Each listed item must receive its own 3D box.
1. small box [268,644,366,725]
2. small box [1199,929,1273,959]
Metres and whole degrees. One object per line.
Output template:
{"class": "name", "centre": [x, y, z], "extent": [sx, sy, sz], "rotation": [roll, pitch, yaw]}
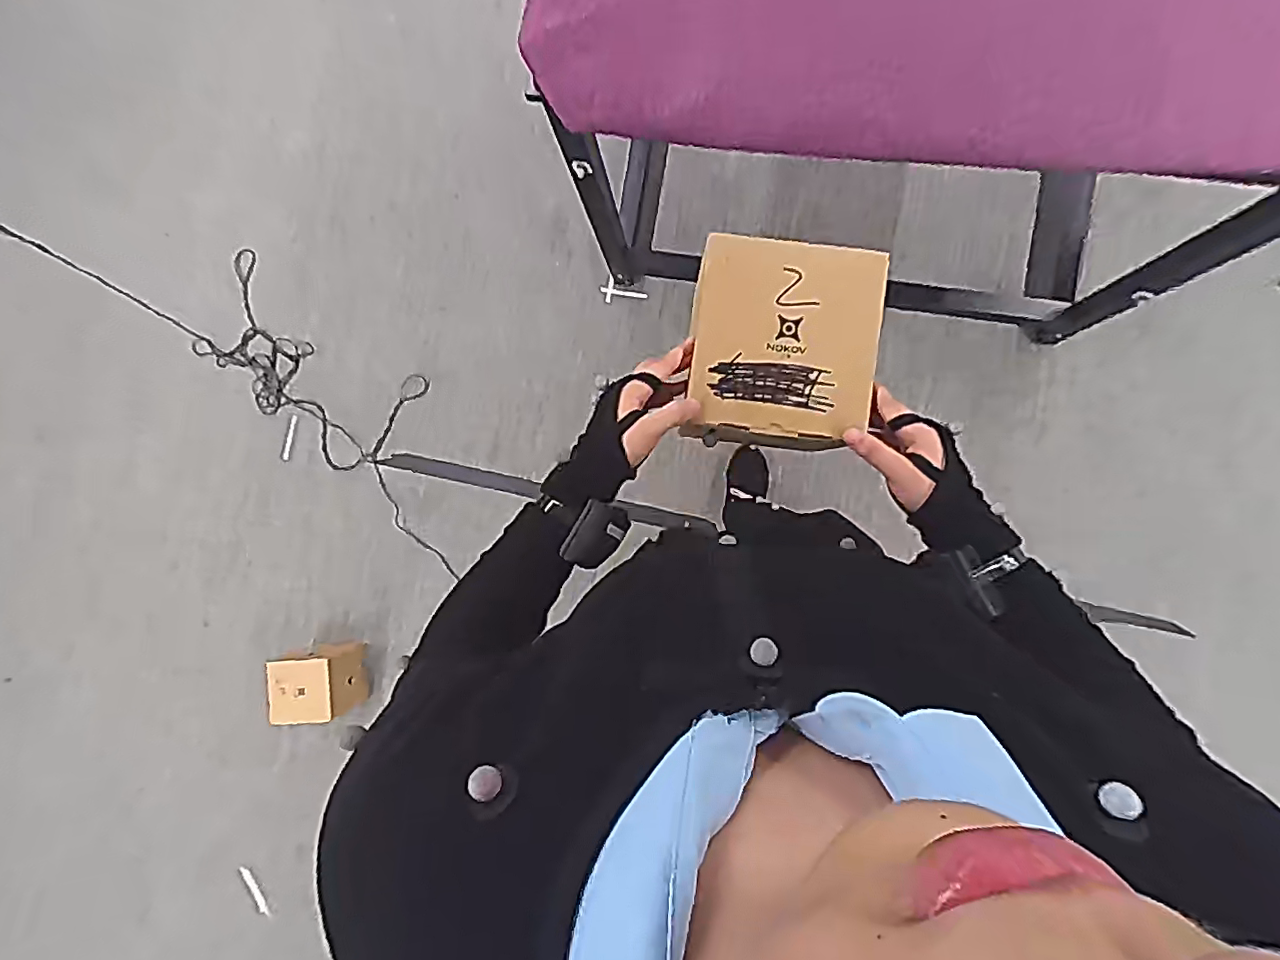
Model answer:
{"class": "small box", "centre": [-0.877, 0.556, 1.487], "extent": [0.179, 0.176, 0.168], "rotation": [-5, 87, 6]}
{"class": "small box", "centre": [1.411, 1.179, 1.211], "extent": [0.168, 0.176, 0.179], "rotation": [36, 92, 6]}
